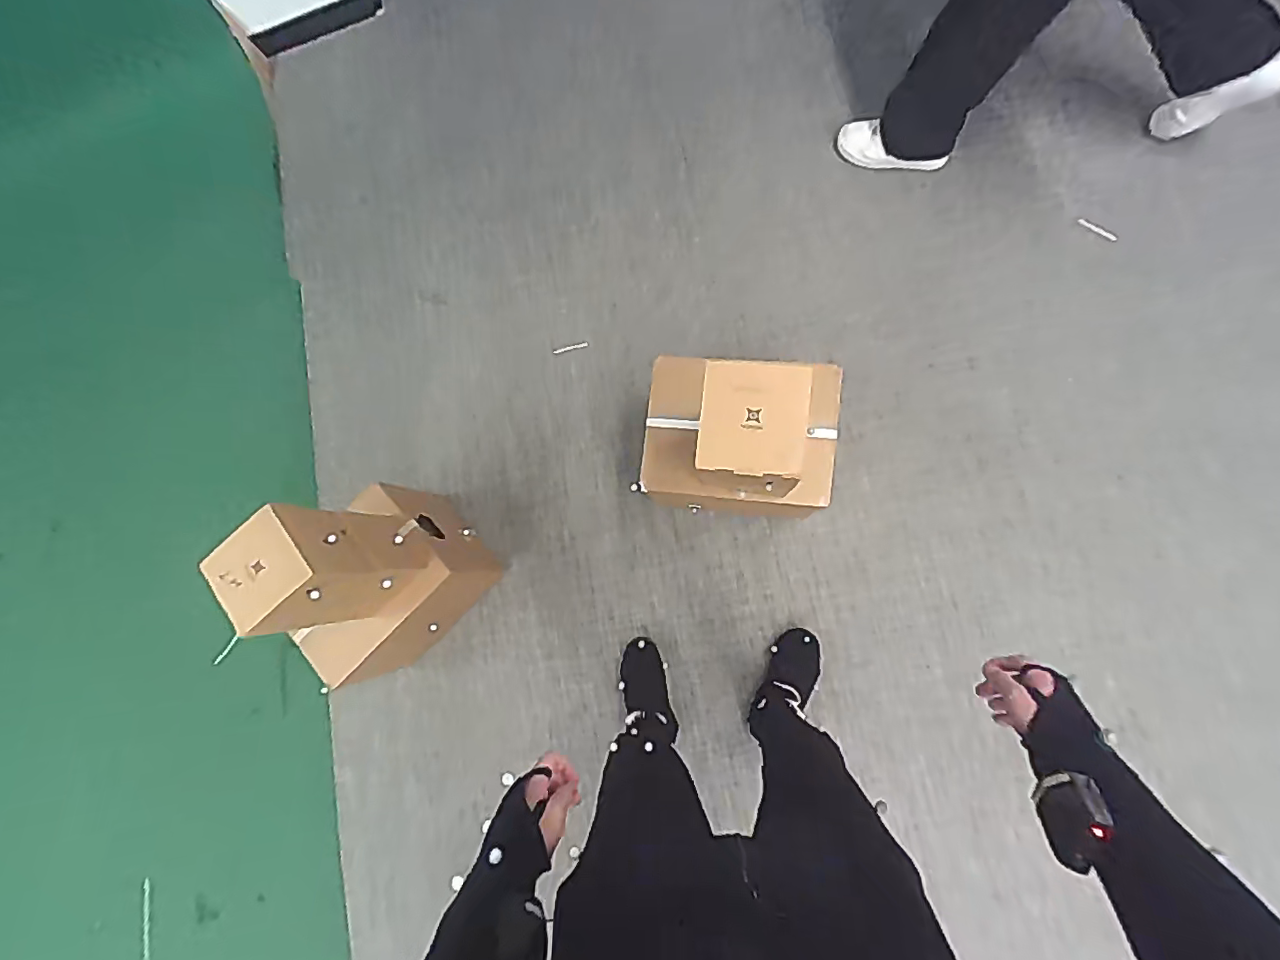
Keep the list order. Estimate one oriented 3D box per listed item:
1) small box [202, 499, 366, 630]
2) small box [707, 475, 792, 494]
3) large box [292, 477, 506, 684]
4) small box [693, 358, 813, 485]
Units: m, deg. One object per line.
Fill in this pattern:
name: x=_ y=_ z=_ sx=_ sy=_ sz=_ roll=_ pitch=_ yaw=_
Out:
small box: x=-0.659 y=0.157 z=1.027 sx=0.179 sy=0.176 sz=0.168 roll=-40 pitch=77 yaw=3
small box: x=0.220 y=-0.076 z=1.067 sx=0.168 sy=0.176 sz=0.179 roll=8 pitch=85 yaw=12
large box: x=-0.642 y=0.252 z=1.432 sx=0.408 sy=0.320 sz=0.320 roll=-45 pitch=76 yaw=3
small box: x=0.187 y=-0.090 z=0.908 sx=0.168 sy=0.176 sz=0.179 roll=7 pitch=84 yaw=11
